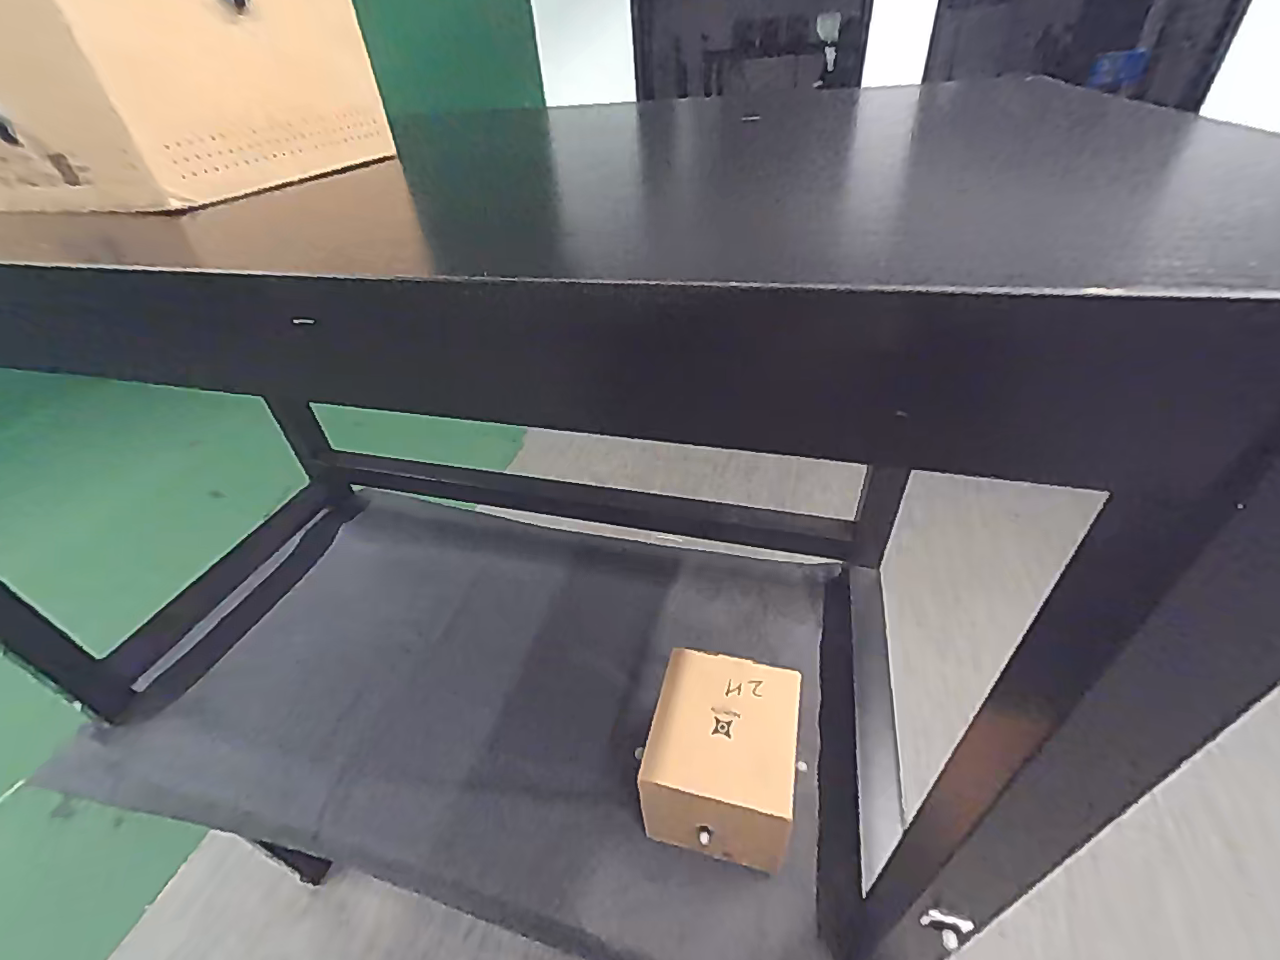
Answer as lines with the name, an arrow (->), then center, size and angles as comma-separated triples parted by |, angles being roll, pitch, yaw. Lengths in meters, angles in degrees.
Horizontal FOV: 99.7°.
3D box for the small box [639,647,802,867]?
small box -> 0.106, 0.347, 0.682 | 0.168, 0.176, 0.179 | 8, 39, 15
